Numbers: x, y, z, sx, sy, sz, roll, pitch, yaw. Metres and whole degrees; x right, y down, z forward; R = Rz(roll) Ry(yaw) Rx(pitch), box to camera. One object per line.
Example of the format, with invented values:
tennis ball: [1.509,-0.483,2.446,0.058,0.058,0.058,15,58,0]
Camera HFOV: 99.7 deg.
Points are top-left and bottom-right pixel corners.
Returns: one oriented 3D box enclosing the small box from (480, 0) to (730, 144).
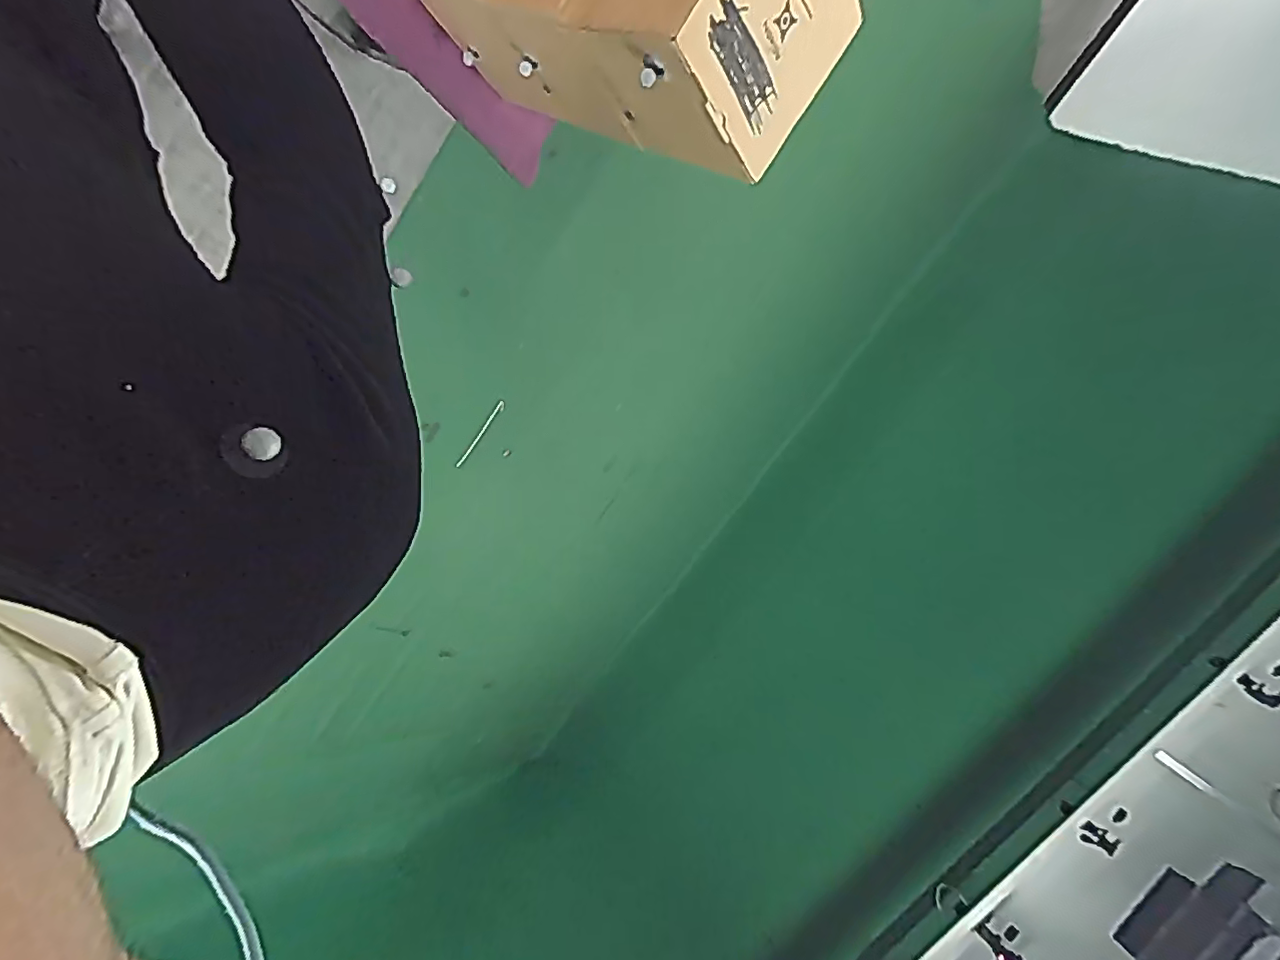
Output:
small box: [-0.040,-0.519,0.589,0.179,0.176,0.168,-52,147,7]

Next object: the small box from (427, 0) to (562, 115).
small box: [-0.146,-0.610,0.673,0.168,0.176,0.179,-53,149,6]
